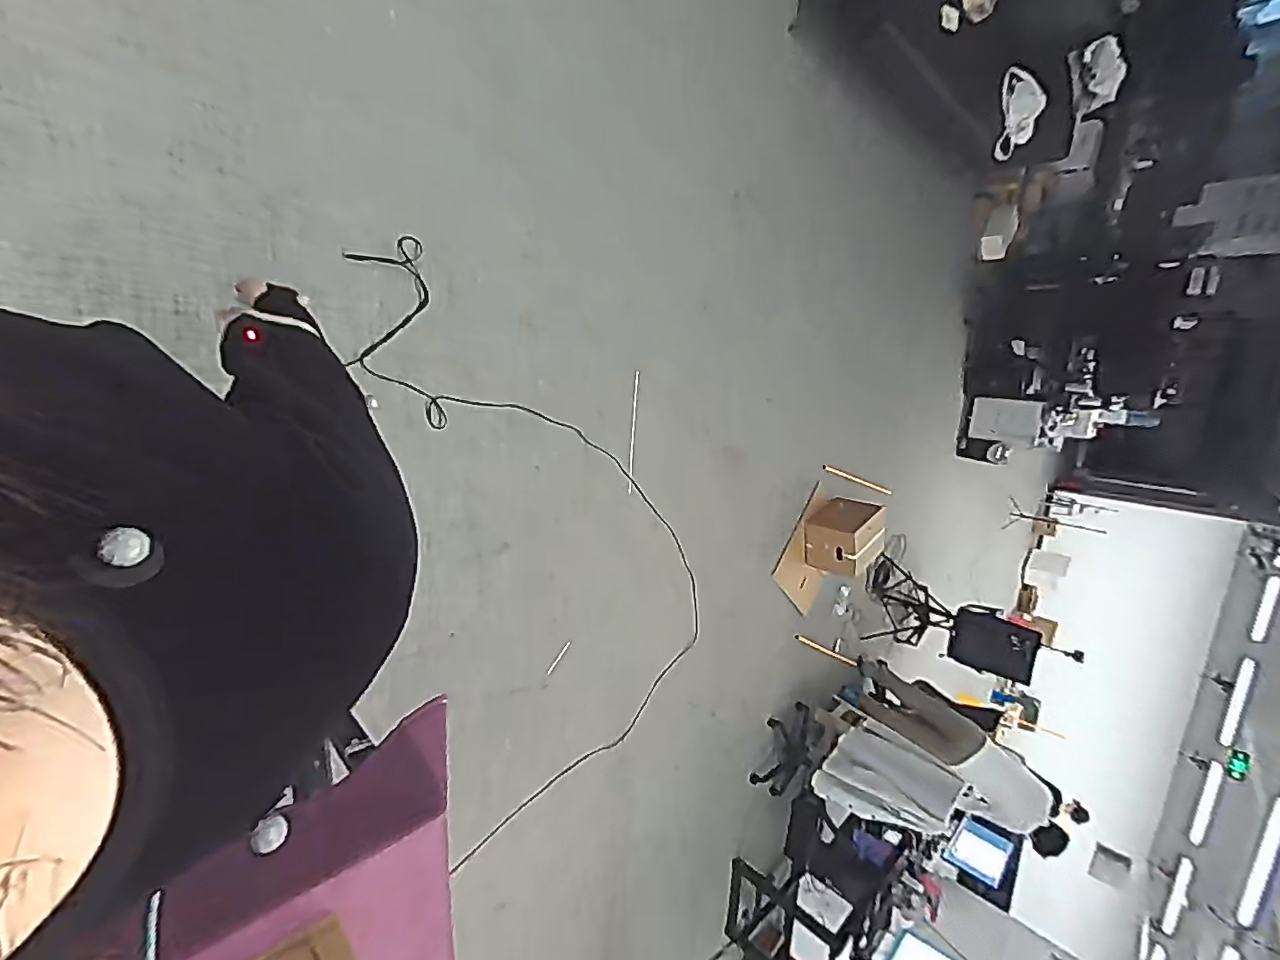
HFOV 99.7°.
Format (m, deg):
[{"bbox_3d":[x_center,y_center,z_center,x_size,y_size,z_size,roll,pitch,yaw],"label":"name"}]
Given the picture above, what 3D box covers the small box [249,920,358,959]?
[{"bbox_3d":[-0.482,0.770,0.751,0.168,0.176,0.179,-10,108,-43],"label":"small box"}]
